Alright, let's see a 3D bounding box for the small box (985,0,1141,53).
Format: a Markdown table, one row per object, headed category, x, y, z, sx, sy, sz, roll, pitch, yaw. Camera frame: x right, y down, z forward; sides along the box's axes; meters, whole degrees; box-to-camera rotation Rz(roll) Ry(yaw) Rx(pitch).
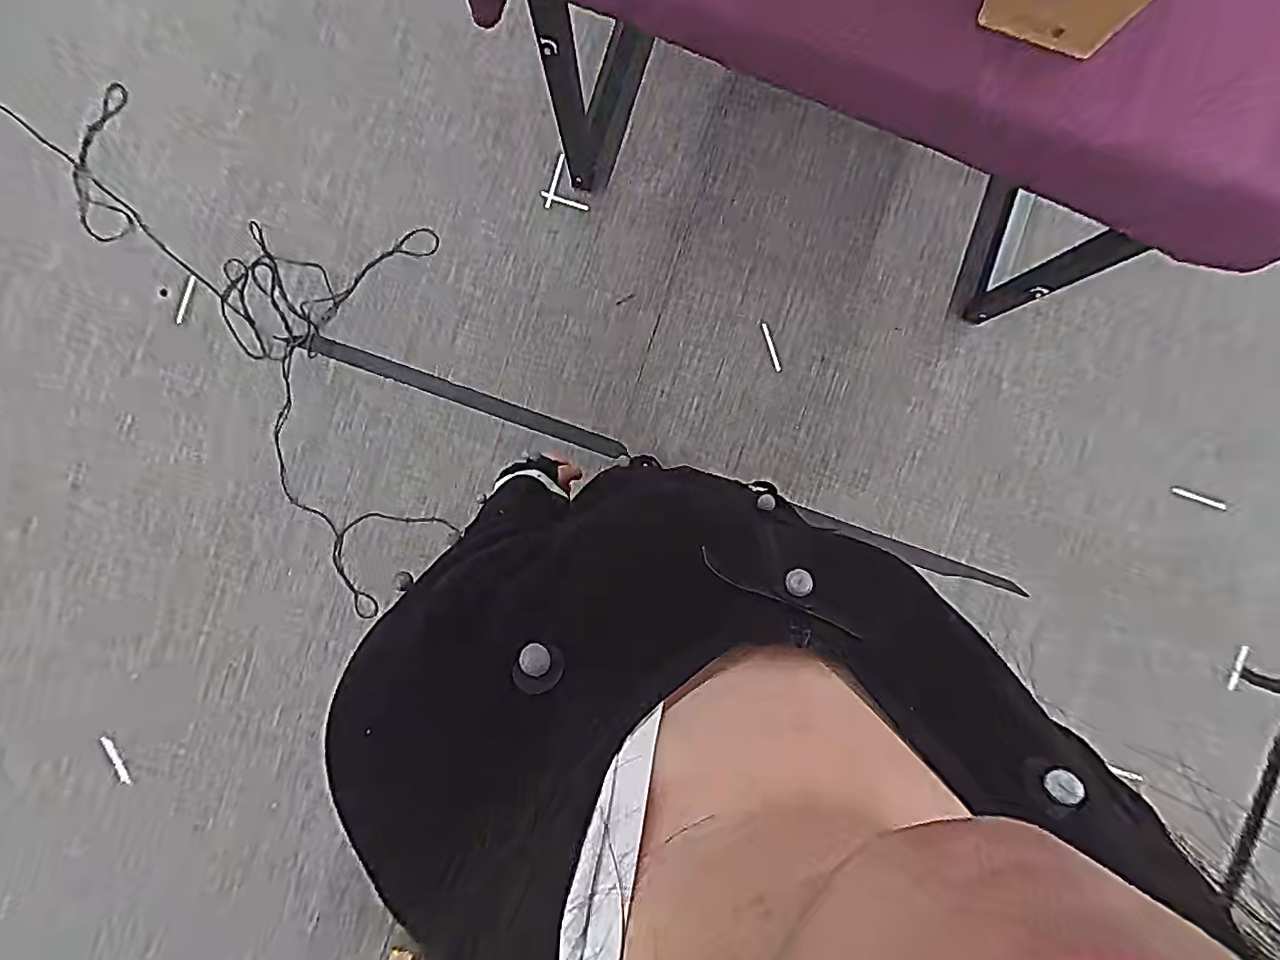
| category | x | y | z | sx | sy | sz | roll | pitch | yaw |
| --- | --- | --- | --- | --- | --- | --- | --- | --- | --- |
| small box | 0.581 | -0.701 | 0.684 | 0.168 | 0.176 | 0.179 | 19 | 91 | 0 |
